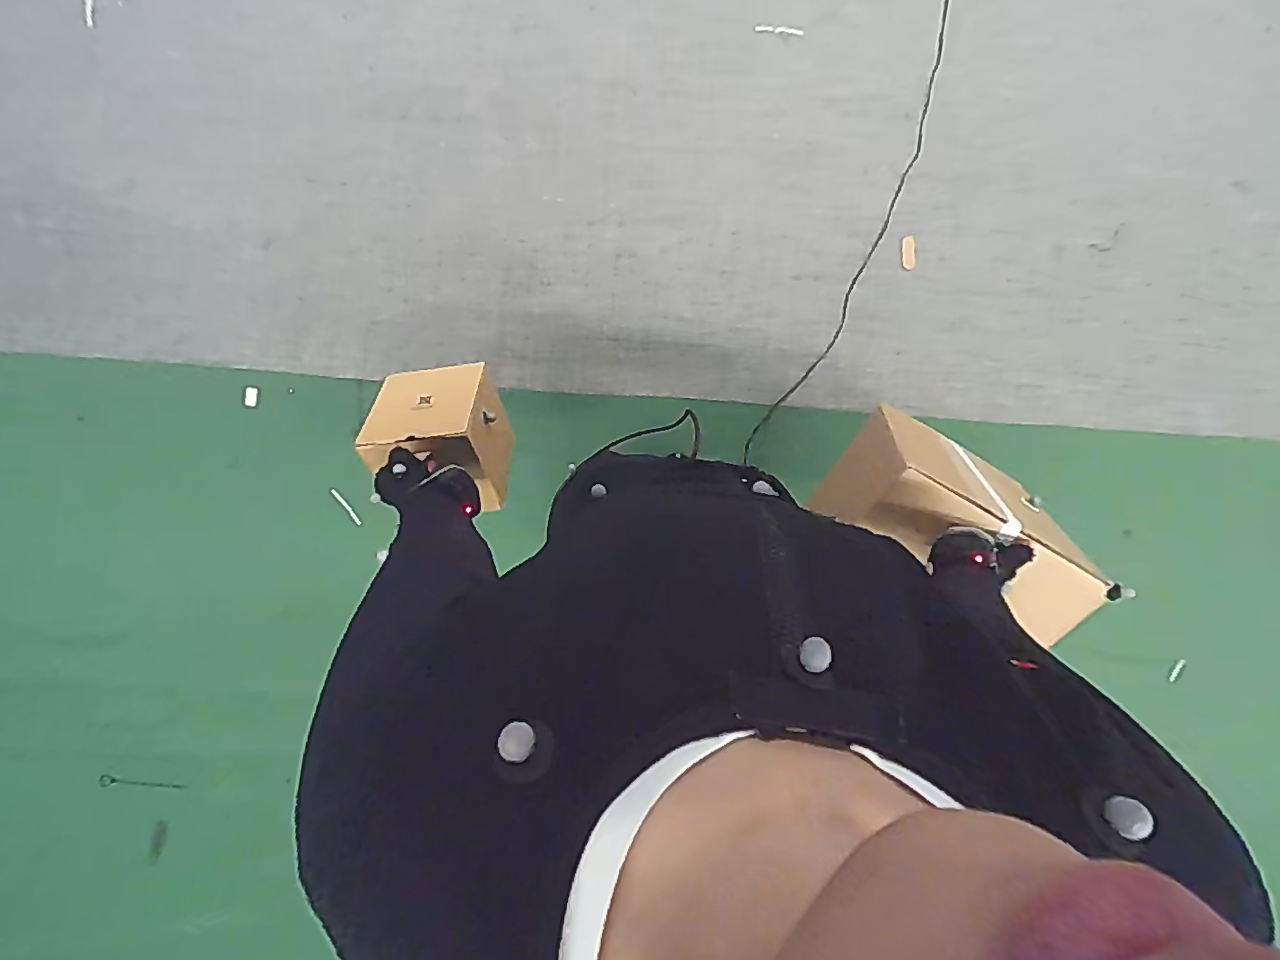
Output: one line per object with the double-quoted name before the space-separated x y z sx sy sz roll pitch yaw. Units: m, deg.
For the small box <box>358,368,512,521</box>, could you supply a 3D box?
"small box" -0.315 -0.056 0.878 0.168 0.179 0.176 -7 136 4
